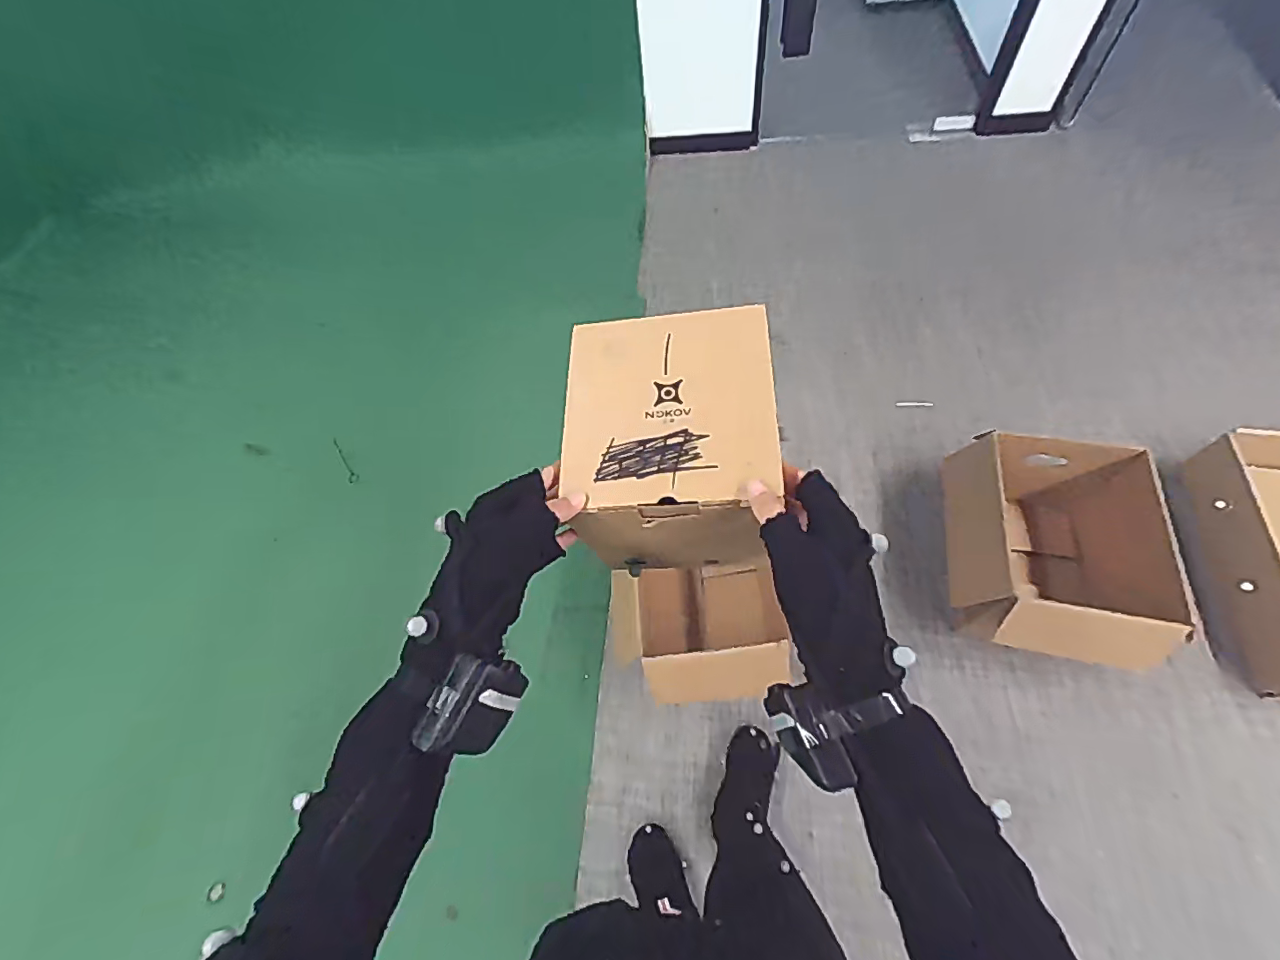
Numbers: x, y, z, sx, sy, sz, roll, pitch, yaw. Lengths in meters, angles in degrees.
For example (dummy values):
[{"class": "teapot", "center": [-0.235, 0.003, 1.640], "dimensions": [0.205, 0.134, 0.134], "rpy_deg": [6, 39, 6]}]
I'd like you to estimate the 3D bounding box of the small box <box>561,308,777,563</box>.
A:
[{"class": "small box", "center": [0.037, -0.026, 0.497], "dimensions": [0.168, 0.176, 0.179], "rpy_deg": [-4, 64, 11]}]
